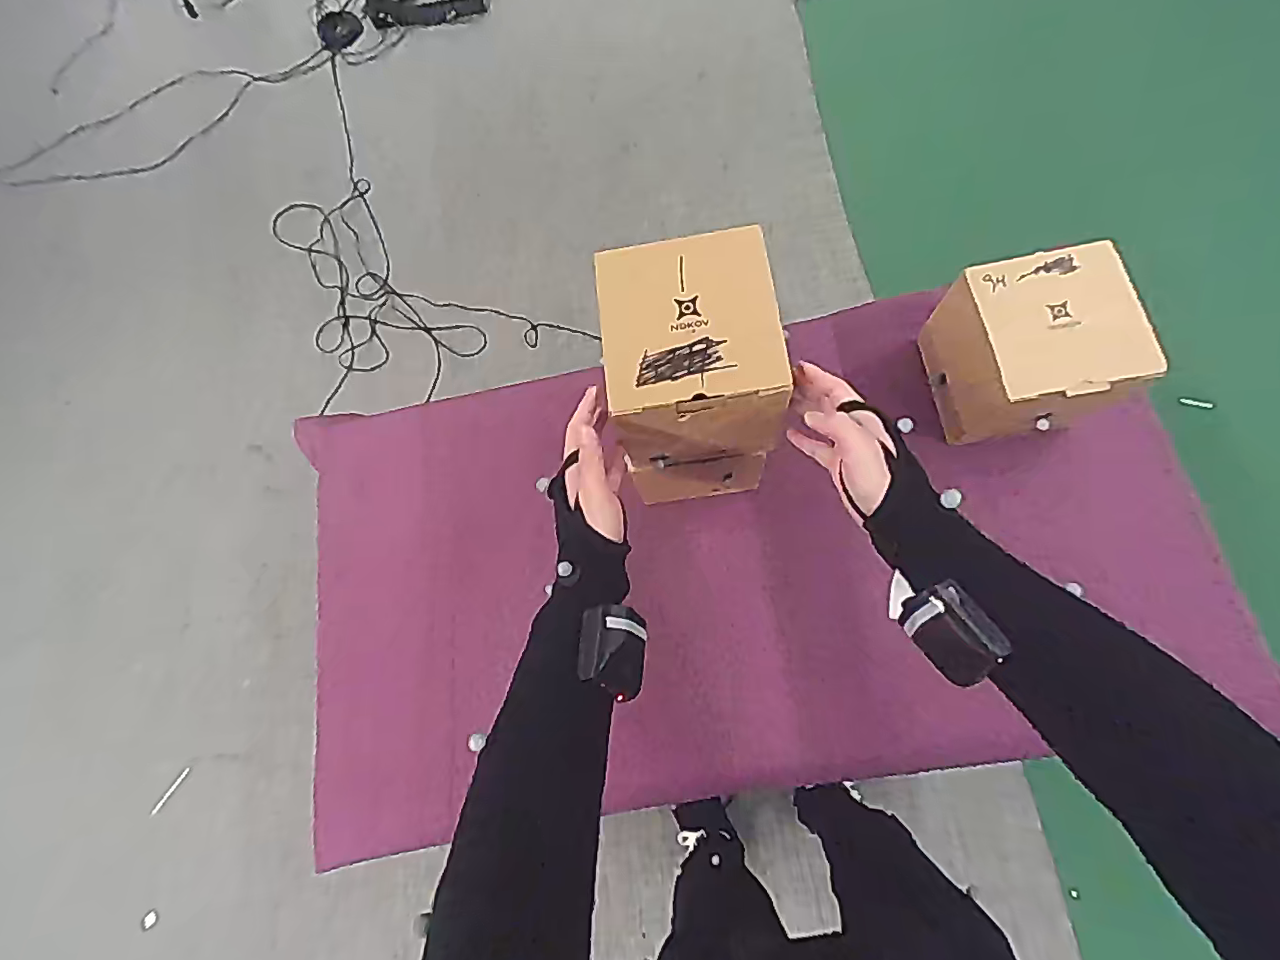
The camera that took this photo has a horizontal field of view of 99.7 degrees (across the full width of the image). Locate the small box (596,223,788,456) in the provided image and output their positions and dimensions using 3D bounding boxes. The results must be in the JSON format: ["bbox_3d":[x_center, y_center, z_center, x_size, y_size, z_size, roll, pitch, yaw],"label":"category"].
[{"bbox_3d":[0.054,-0.133,0.577,0.168,0.176,0.179,-7,73,5],"label":"small box"}]

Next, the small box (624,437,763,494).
[{"bbox_3d":[0.069,-0.085,0.733,0.168,0.176,0.179,-7,73,5],"label":"small box"}]

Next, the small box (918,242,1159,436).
[{"bbox_3d":[0.485,-0.164,0.691,0.168,0.176,0.179,-9,76,6],"label":"small box"}]
